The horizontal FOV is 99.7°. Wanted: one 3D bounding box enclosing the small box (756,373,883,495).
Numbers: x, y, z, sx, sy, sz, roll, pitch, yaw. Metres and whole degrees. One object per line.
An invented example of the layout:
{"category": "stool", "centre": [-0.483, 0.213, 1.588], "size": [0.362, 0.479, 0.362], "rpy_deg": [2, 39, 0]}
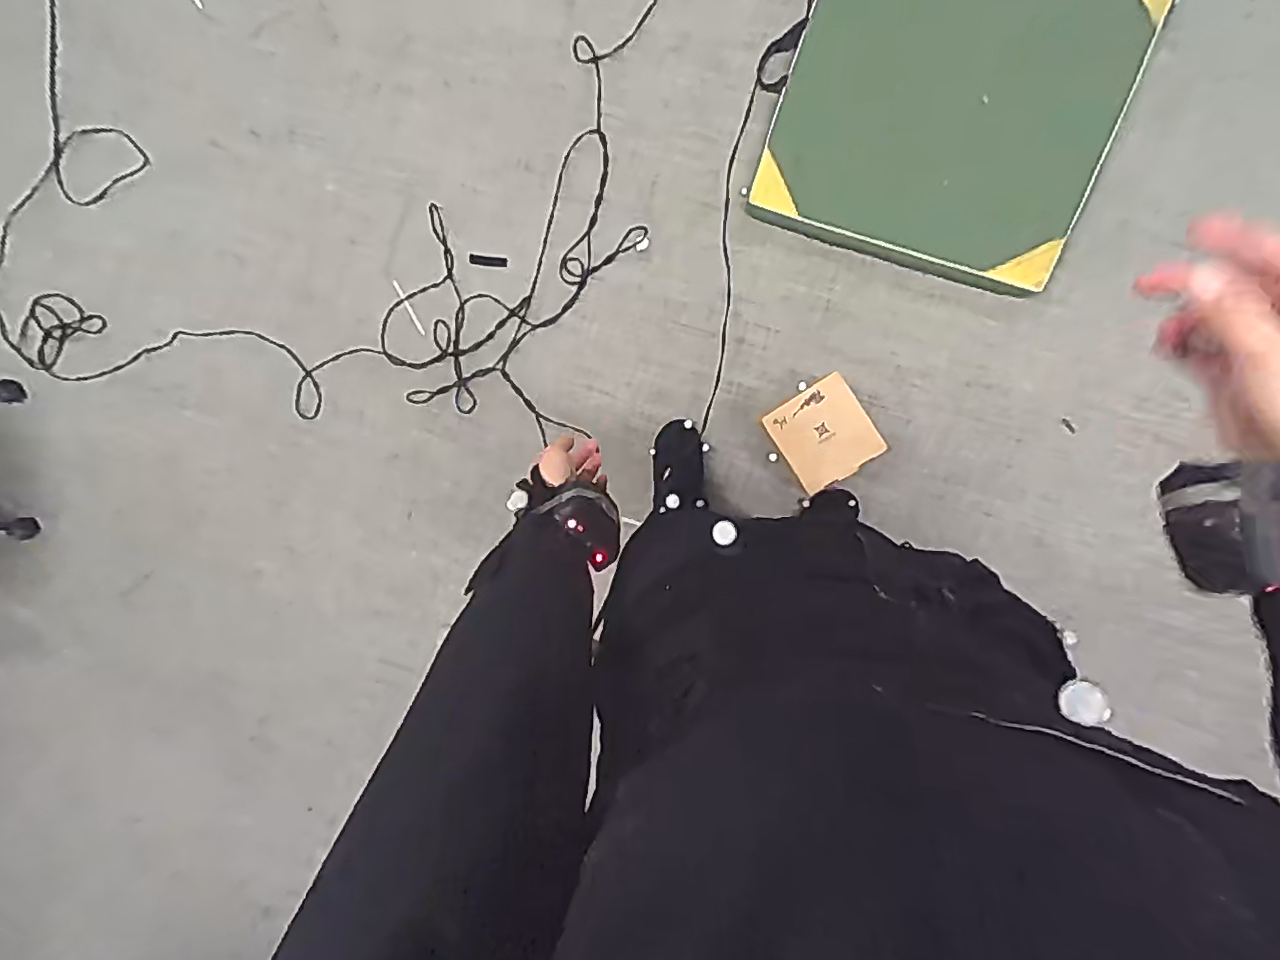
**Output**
{"category": "small box", "centre": [0.349, -0.094, 1.085], "size": [0.168, 0.176, 0.179], "rpy_deg": [-33, 91, 9]}
